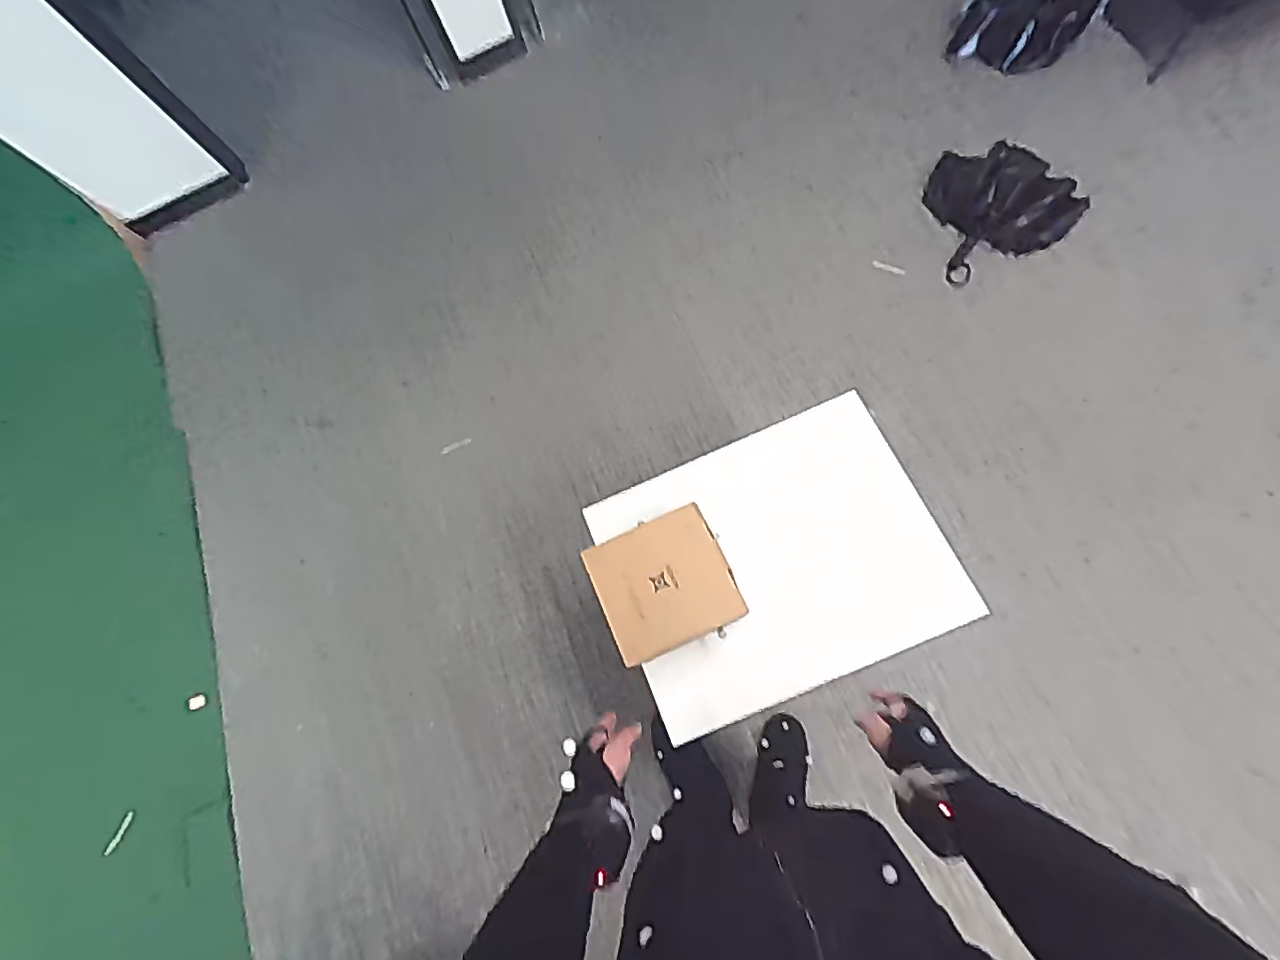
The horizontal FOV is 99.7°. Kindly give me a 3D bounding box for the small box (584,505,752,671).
[{"bbox_3d":[0.042,0.159,0.775,0.179,0.176,0.168,-24,70,-1],"label":"small box"}]
